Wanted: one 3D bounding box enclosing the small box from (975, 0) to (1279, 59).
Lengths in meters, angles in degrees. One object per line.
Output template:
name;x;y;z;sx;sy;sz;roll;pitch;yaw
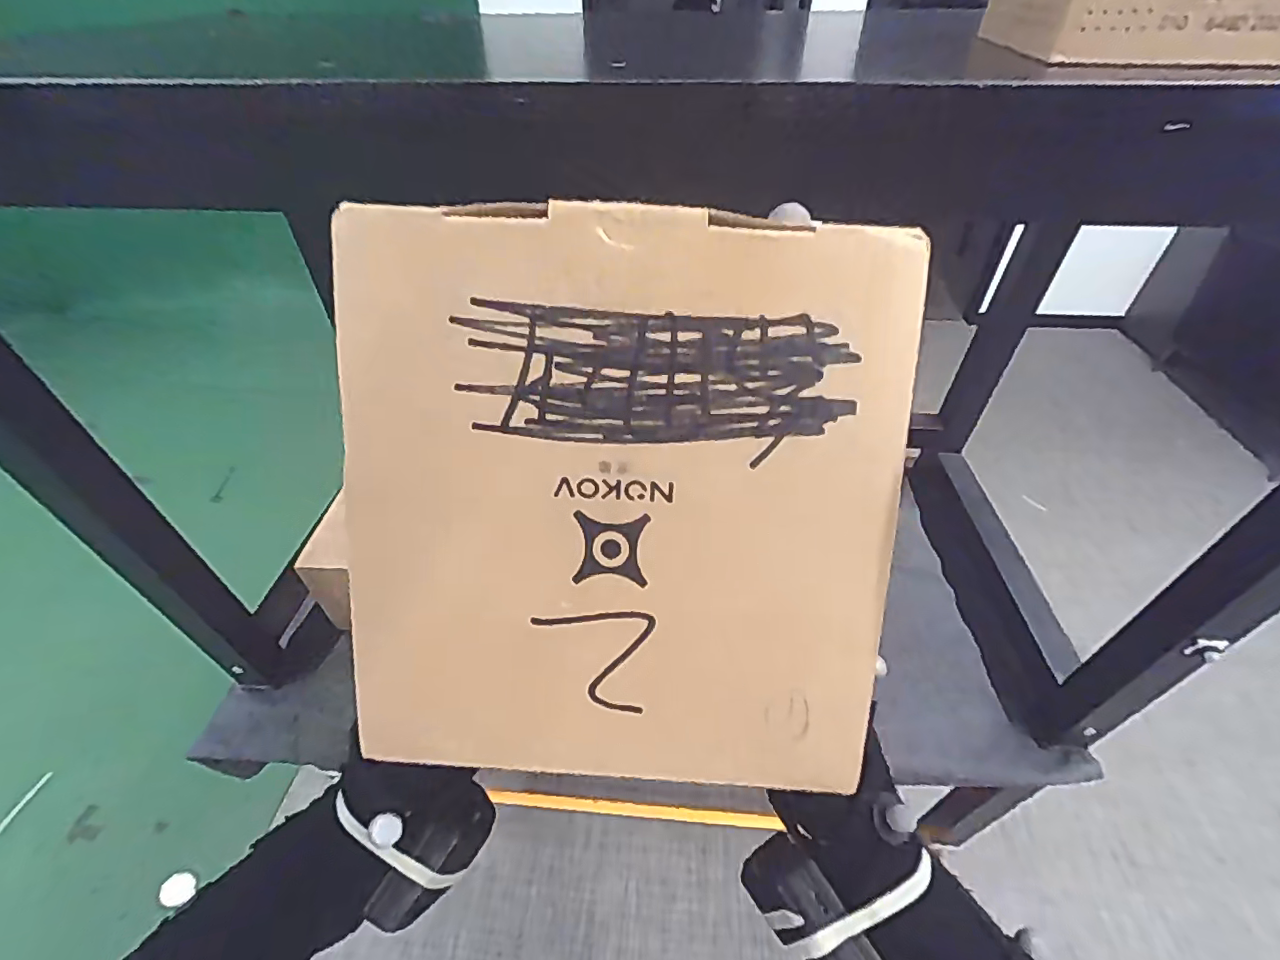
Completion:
small box;0.302;-0.324;0.272;0.168;0.176;0.179;9;43;10

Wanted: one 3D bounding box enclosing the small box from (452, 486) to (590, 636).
small box;-0.176;0.132;0.868;0.168;0.176;0.179;3;42;4

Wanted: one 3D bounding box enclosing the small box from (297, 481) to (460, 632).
small box;-0.403;0.123;0.877;0.168;0.176;0.179;1;43;2
